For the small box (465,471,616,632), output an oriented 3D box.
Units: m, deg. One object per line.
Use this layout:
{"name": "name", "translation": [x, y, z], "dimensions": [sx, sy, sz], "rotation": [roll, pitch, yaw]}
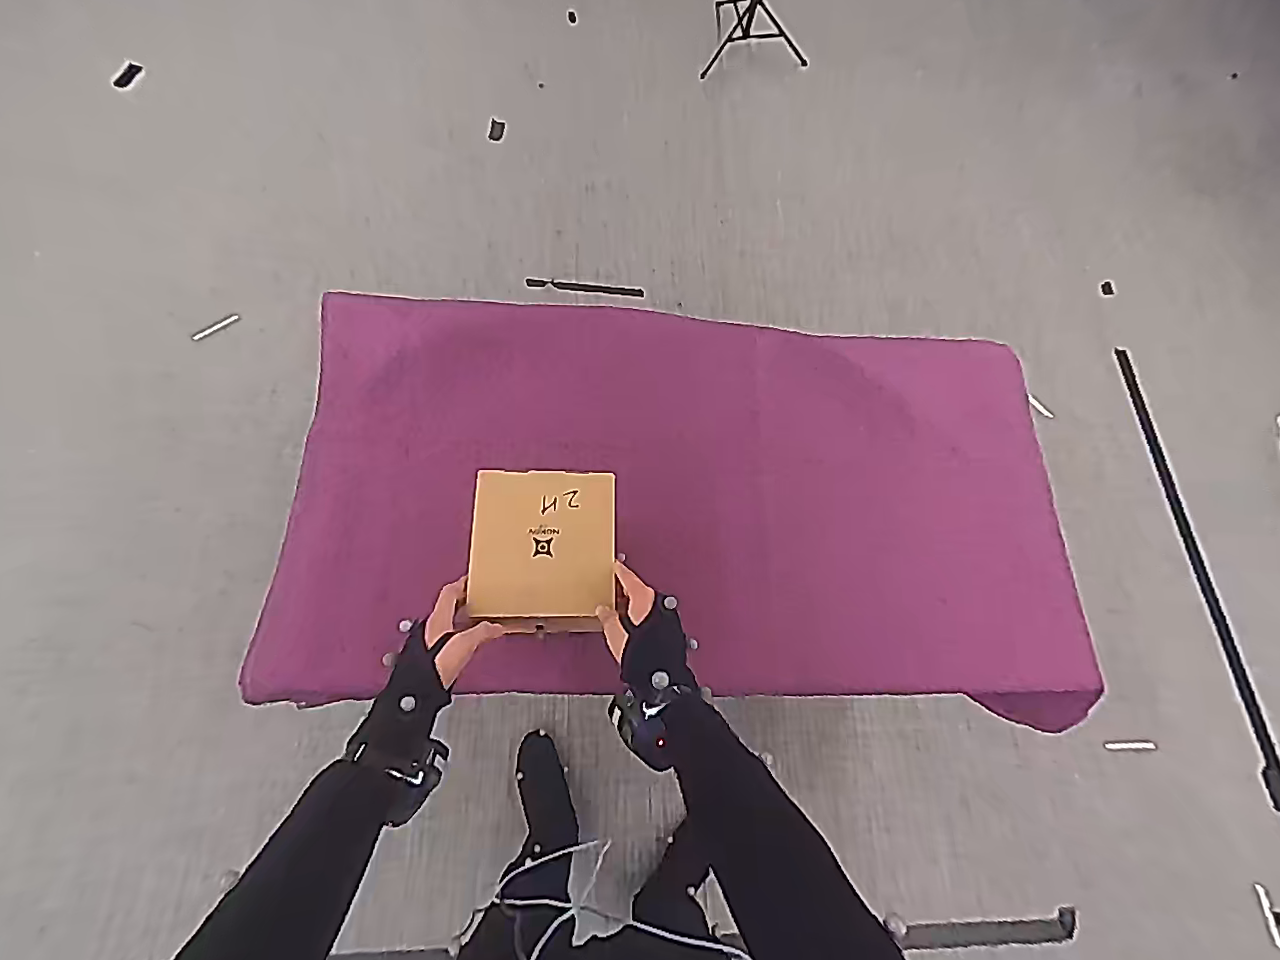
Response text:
{"name": "small box", "translation": [-0.119, 0.102, 0.702], "dimensions": [0.168, 0.176, 0.179], "rotation": [2, 68, -6]}
